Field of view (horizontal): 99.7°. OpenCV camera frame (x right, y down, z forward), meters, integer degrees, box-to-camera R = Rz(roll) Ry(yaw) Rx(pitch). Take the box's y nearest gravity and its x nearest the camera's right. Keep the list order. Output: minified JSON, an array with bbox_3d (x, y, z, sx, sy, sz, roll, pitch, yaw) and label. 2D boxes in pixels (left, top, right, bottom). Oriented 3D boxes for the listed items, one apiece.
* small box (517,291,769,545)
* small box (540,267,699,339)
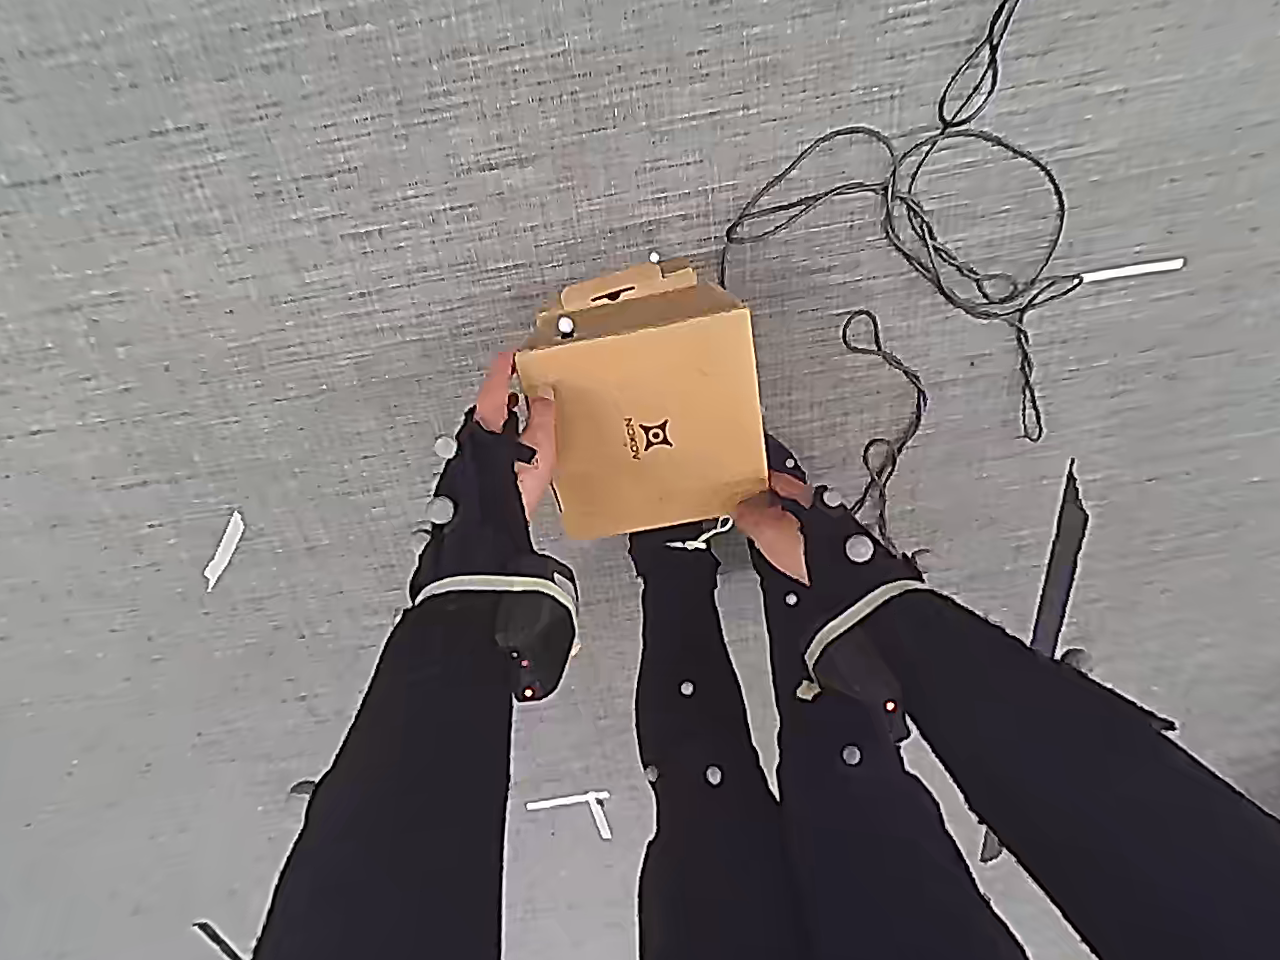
[{"bbox_3d":[0.008,-0.066,0.493,0.179,0.176,0.168,-10,115,6],"label":"small box"},{"bbox_3d":[-0.004,-0.144,0.641,0.168,0.176,0.179,-15,116,7],"label":"small box"}]
